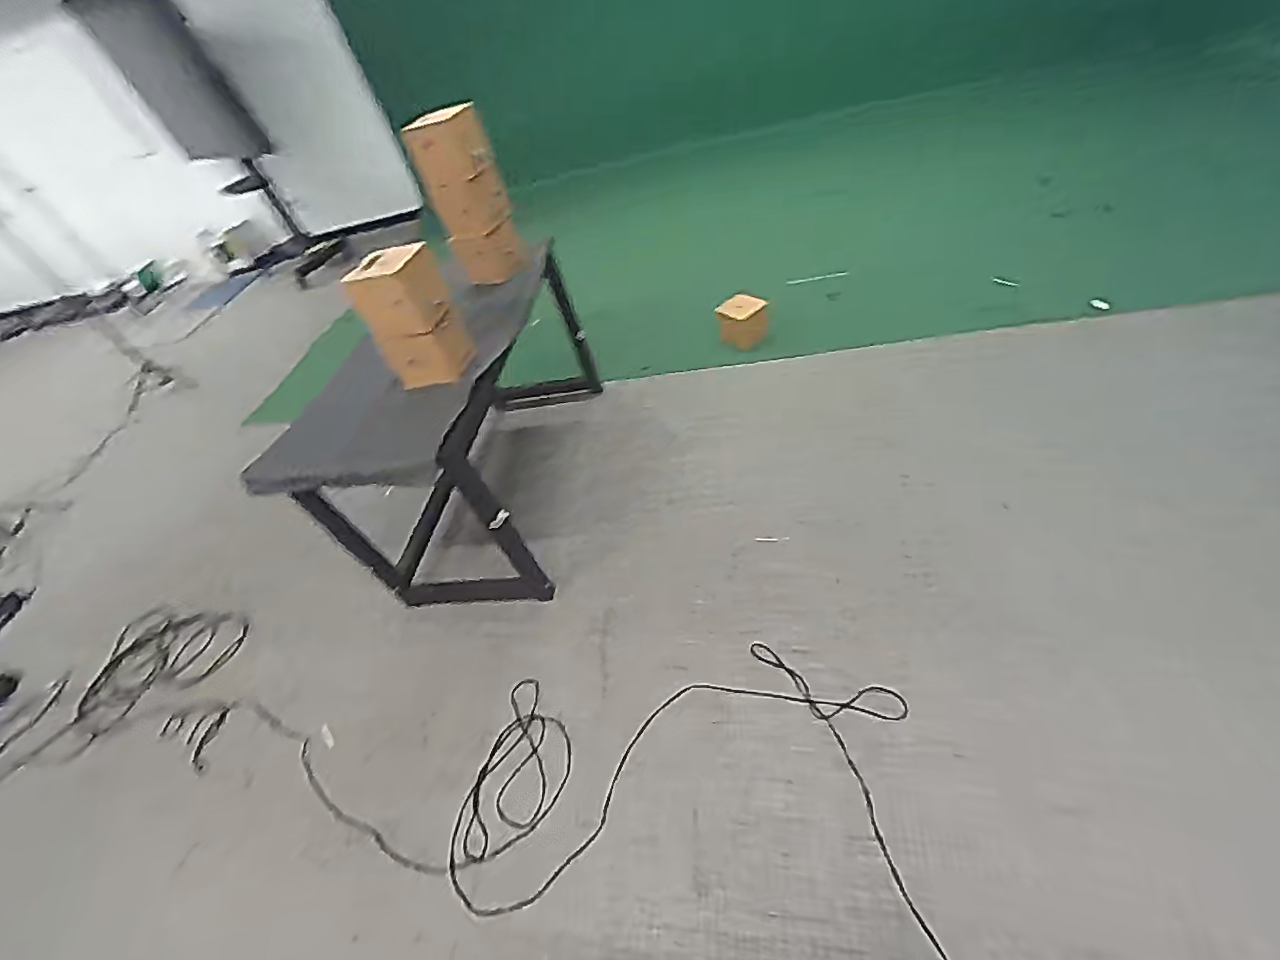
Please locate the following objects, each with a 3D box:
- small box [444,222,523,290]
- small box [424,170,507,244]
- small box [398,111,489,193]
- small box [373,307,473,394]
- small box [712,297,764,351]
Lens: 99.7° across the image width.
[{"bbox_3d":[-0.553,-0.799,1.936,0.179,0.176,0.168,9,51,29],"label":"small box"},{"bbox_3d":[-0.583,-0.922,1.834,0.179,0.176,0.168,5,49,26],"label":"small box"},{"bbox_3d":[-0.620,-1.038,1.723,0.179,0.176,0.168,1,48,21],"label":"small box"},{"bbox_3d":[-0.614,-0.366,1.551,0.179,0.176,0.168,-7,46,15],"label":"small box"},{"bbox_3d":[0.471,-0.733,2.563,0.168,0.176,0.179,-37,47,-17],"label":"small box"}]
